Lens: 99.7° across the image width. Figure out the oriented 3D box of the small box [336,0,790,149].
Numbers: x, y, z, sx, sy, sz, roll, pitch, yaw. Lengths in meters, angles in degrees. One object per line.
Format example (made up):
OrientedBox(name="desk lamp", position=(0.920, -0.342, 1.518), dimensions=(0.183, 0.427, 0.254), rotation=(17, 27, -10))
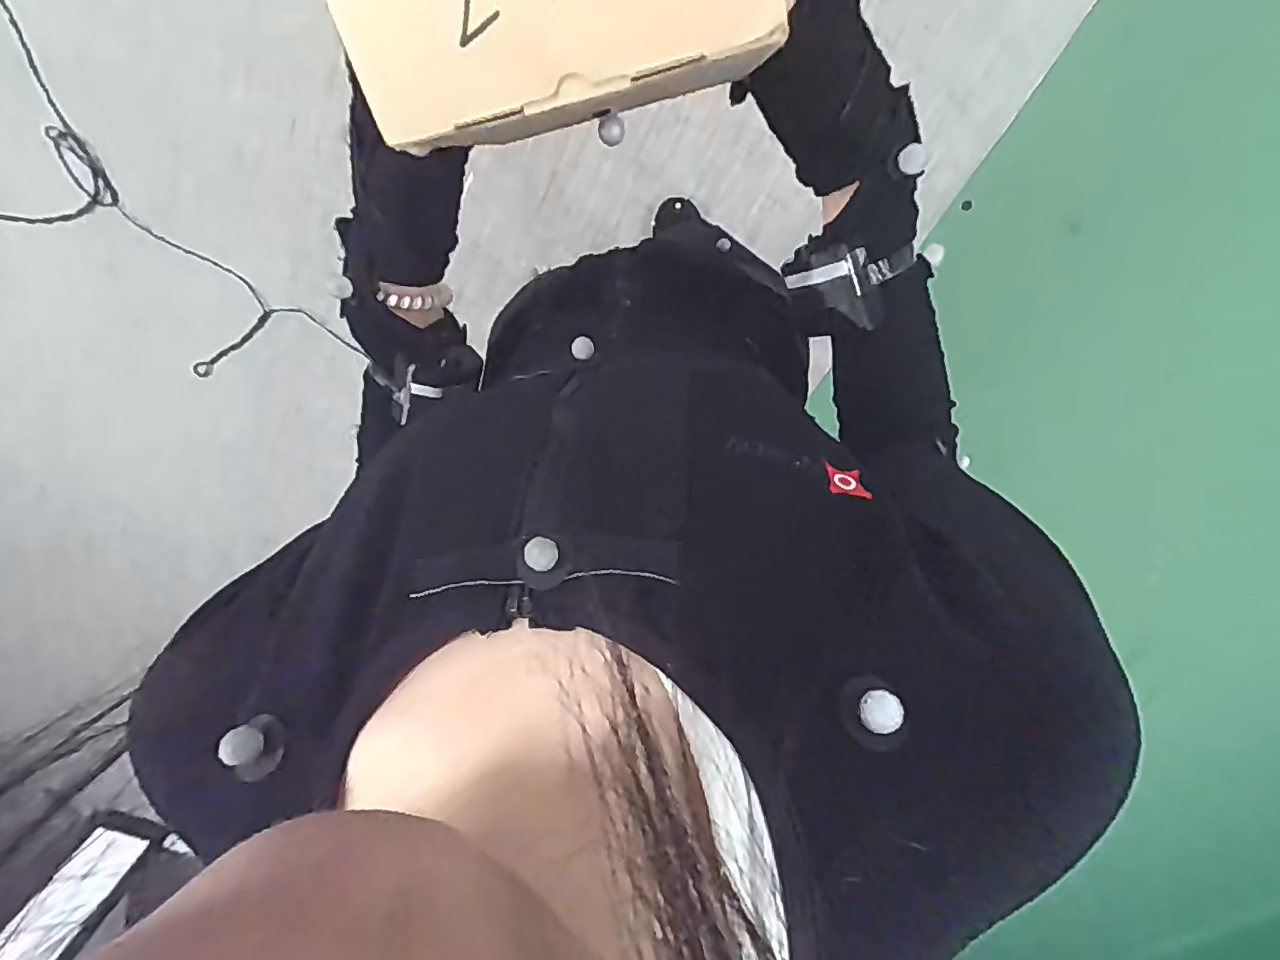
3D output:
OrientedBox(name="small box", position=(-0.036, -0.264, 0.238), dimensions=(0.168, 0.176, 0.179), rotation=(-9, 122, 10))
